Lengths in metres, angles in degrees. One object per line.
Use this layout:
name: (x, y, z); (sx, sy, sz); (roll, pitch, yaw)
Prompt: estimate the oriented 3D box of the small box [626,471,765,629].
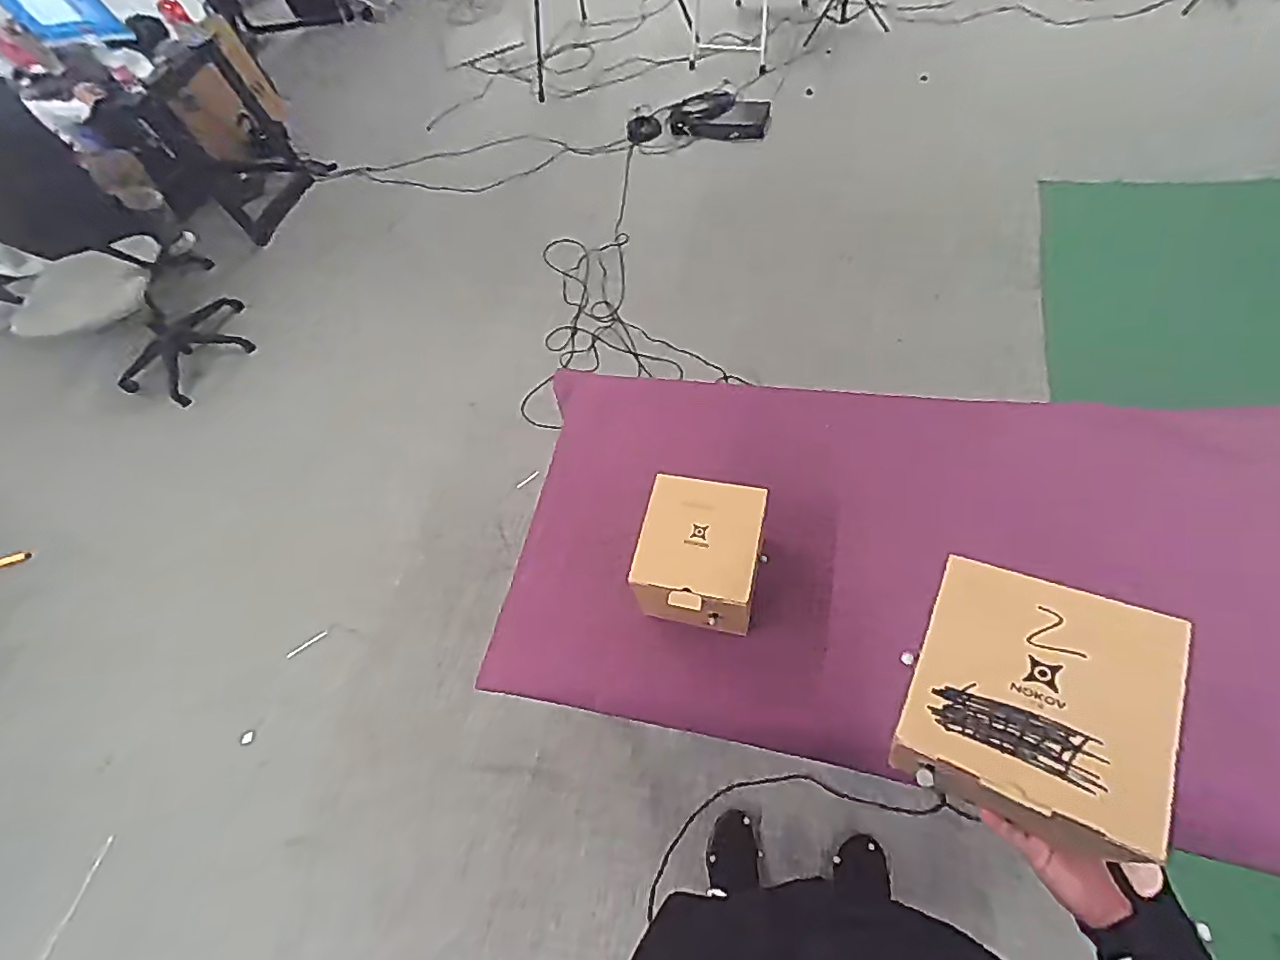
small box: (0.093, 0.112, 0.826); (0.168, 0.176, 0.179); (10, 63, 15)
